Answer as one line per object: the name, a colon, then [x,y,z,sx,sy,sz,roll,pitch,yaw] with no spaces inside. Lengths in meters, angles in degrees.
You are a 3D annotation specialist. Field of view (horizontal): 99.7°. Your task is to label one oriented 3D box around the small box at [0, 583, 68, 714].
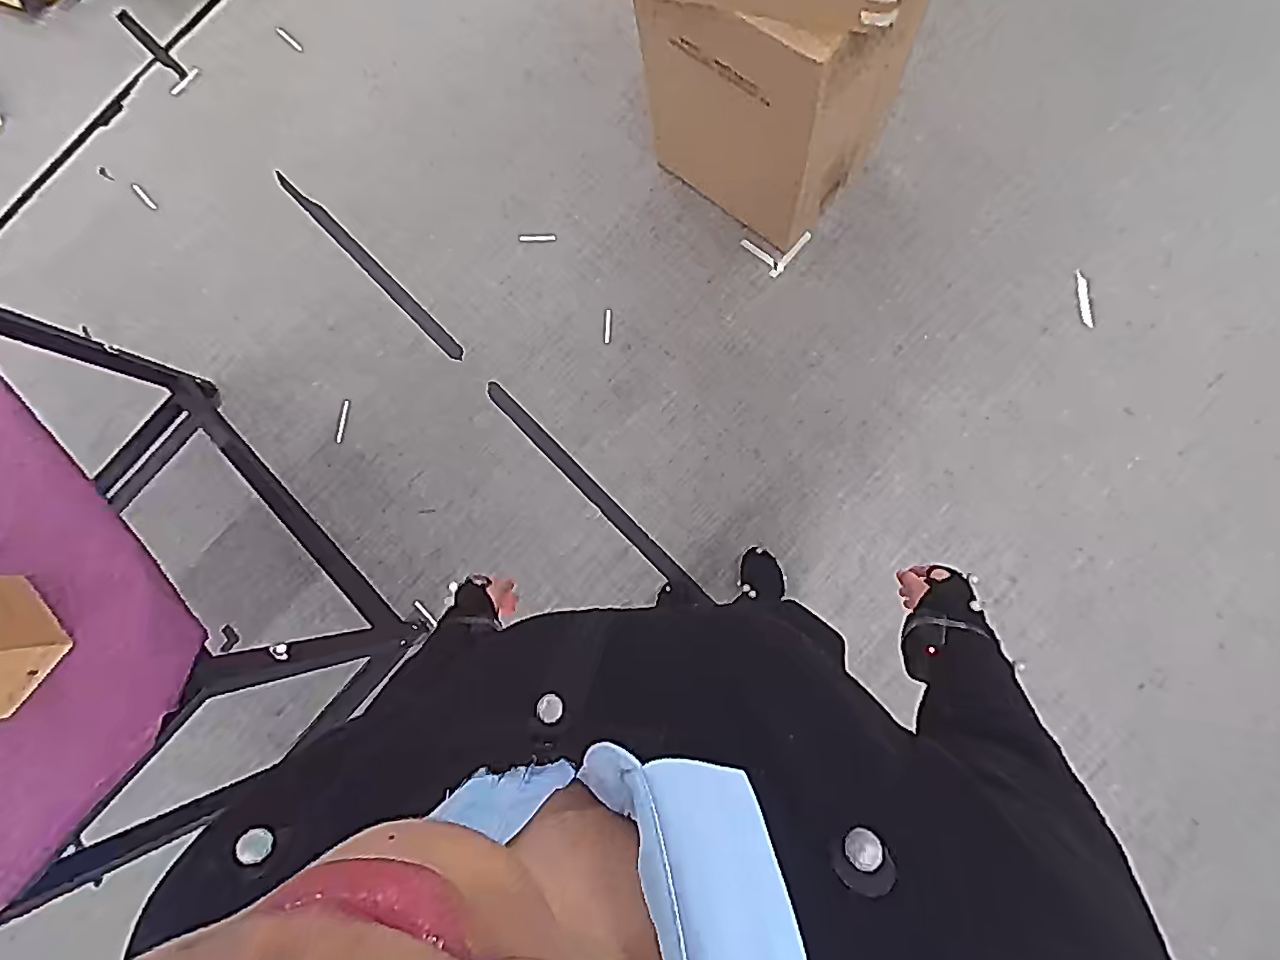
small box: [-1.074,0.272,0.844,0.179,0.176,0.168,40,88,13]
